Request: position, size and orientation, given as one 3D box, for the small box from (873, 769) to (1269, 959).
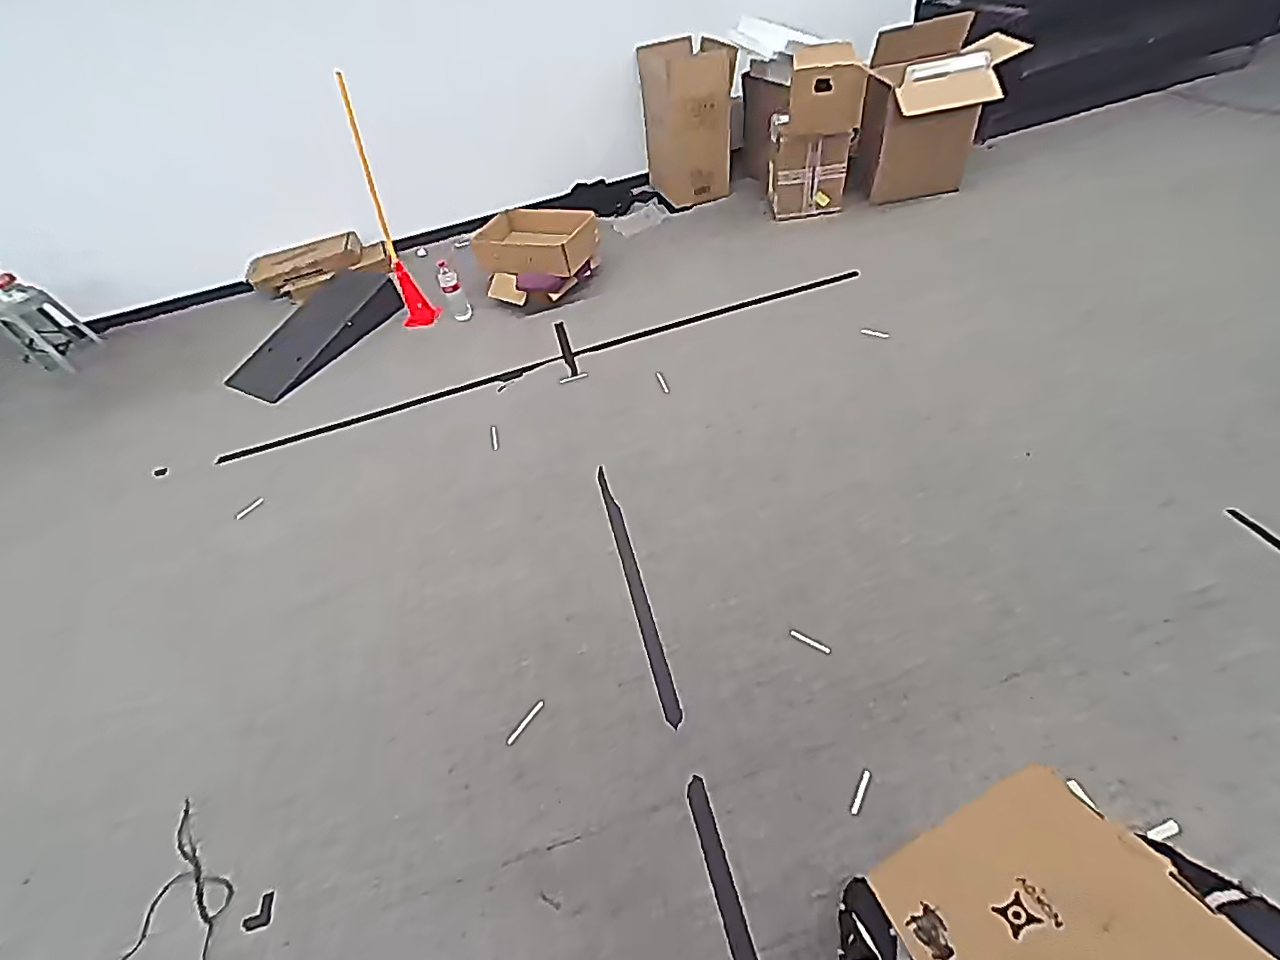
[{"bbox_3d":[0.319,0.370,0.398,0.179,0.176,0.168,-33,10,1],"label":"small box"}]
